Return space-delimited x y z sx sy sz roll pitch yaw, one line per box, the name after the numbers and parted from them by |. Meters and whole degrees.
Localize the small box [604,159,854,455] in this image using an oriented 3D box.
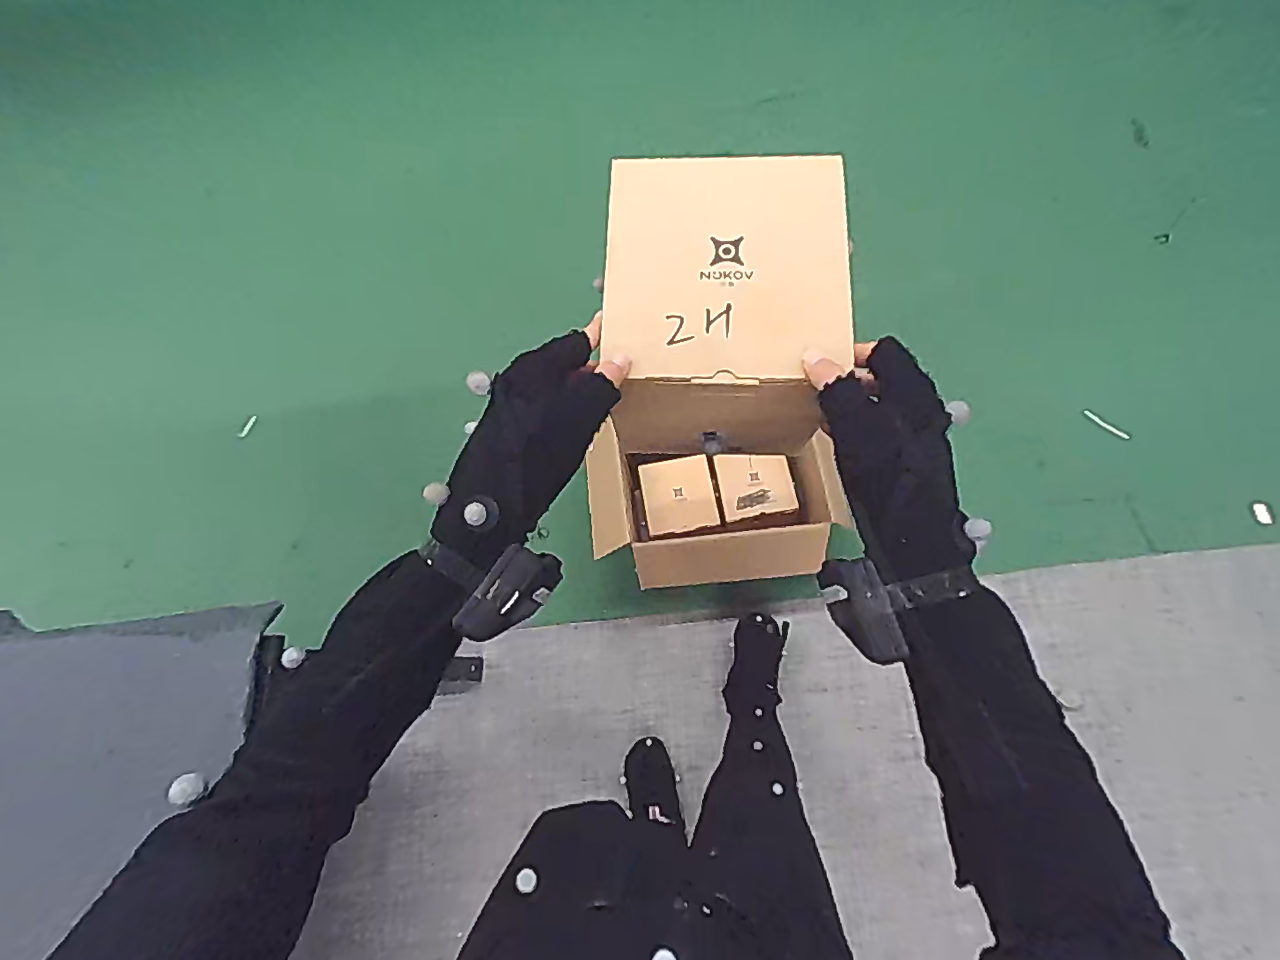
0.066 -0.130 0.451 0.168 0.176 0.179 2 76 4 | small box
